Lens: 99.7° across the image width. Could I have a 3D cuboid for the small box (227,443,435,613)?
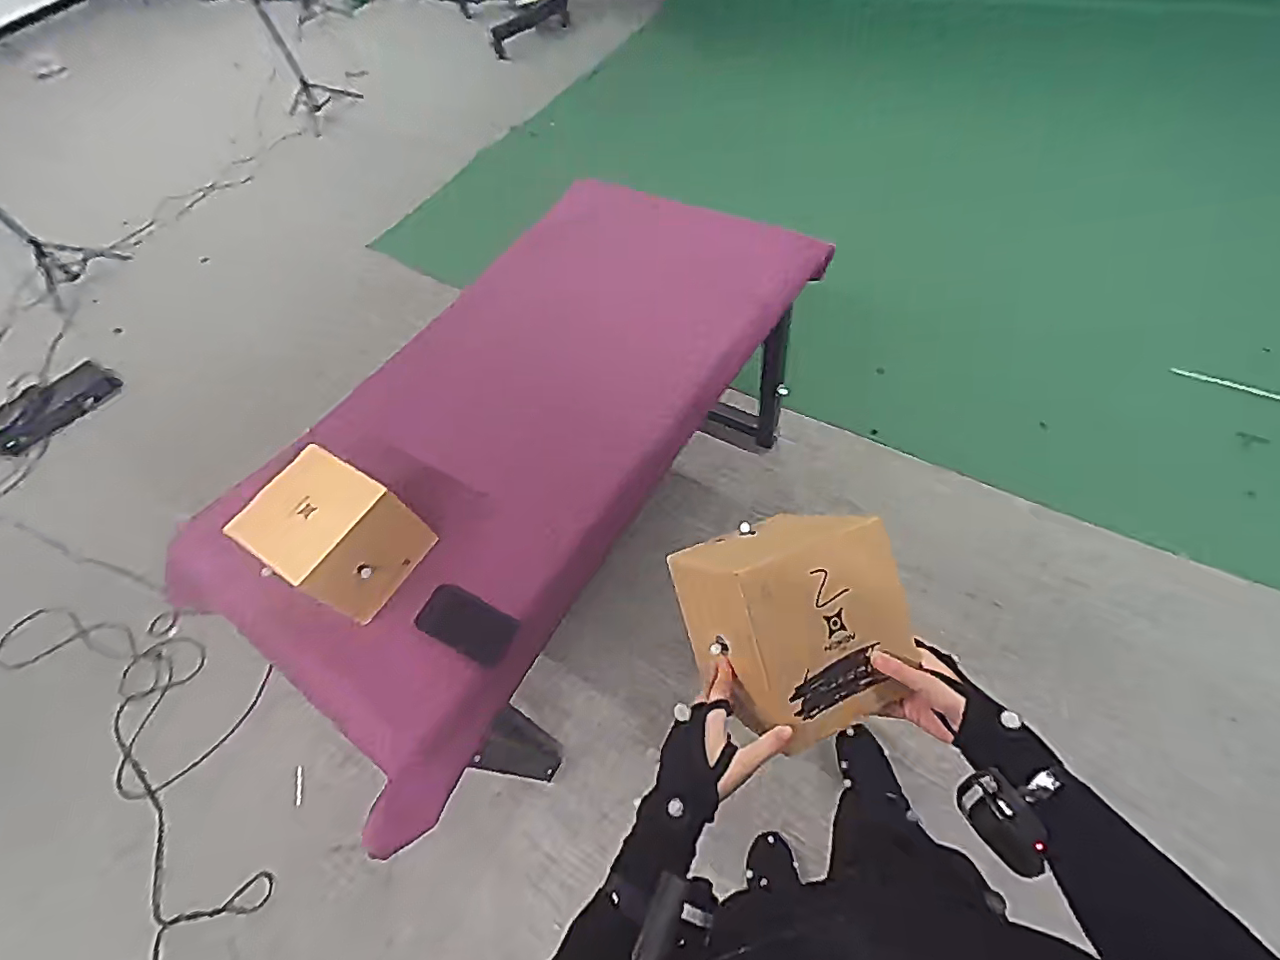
[{"bbox_3d":[-0.447,0.079,0.812,0.179,0.176,0.168,25,65,23],"label":"small box"}]
